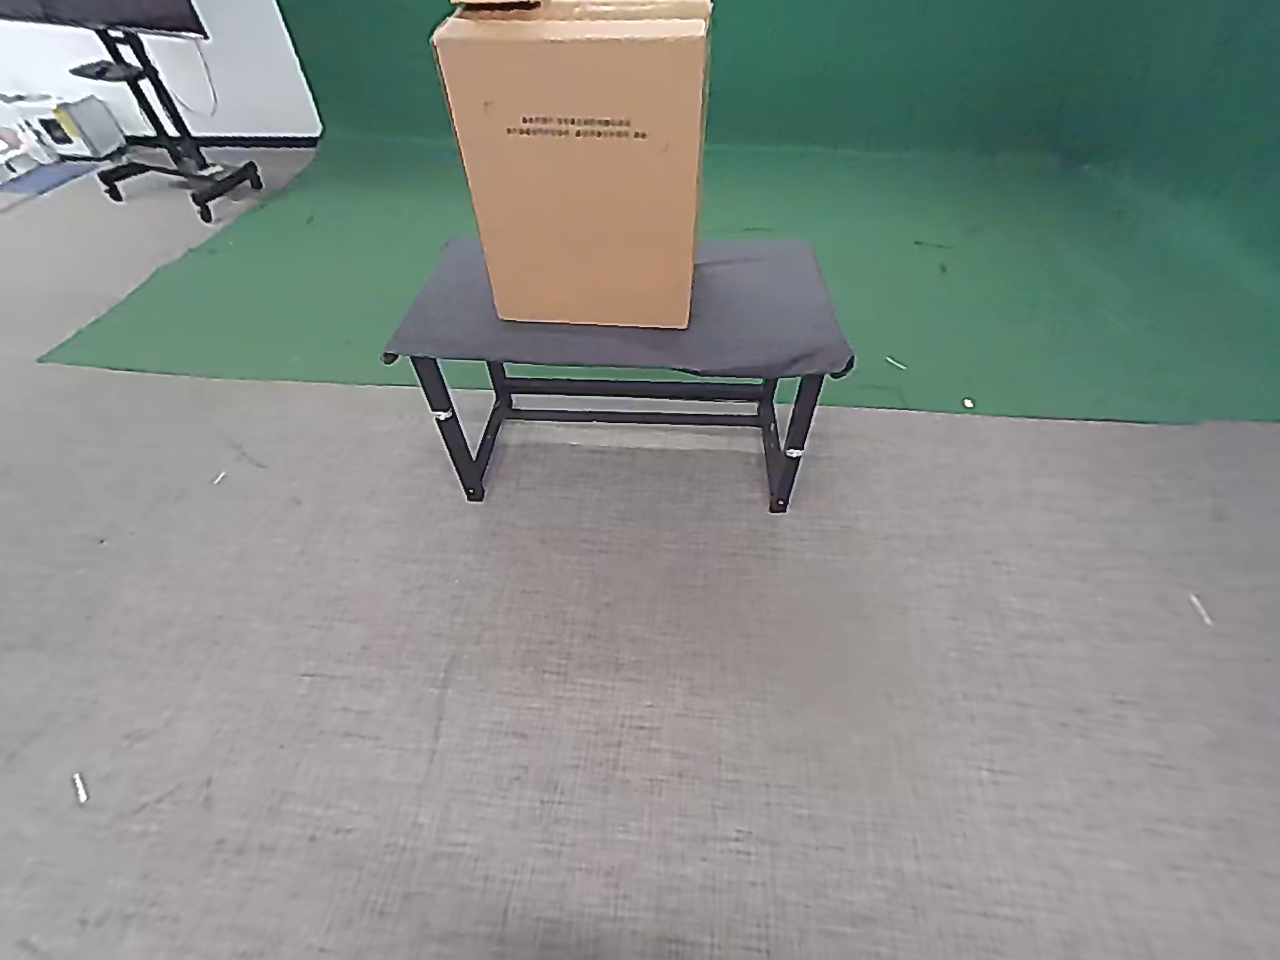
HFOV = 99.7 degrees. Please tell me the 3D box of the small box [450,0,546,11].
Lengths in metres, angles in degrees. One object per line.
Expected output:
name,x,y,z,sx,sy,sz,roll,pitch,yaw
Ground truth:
small box,-0.298,-1.071,1.101,0.179,0.176,0.168,4,42,2
